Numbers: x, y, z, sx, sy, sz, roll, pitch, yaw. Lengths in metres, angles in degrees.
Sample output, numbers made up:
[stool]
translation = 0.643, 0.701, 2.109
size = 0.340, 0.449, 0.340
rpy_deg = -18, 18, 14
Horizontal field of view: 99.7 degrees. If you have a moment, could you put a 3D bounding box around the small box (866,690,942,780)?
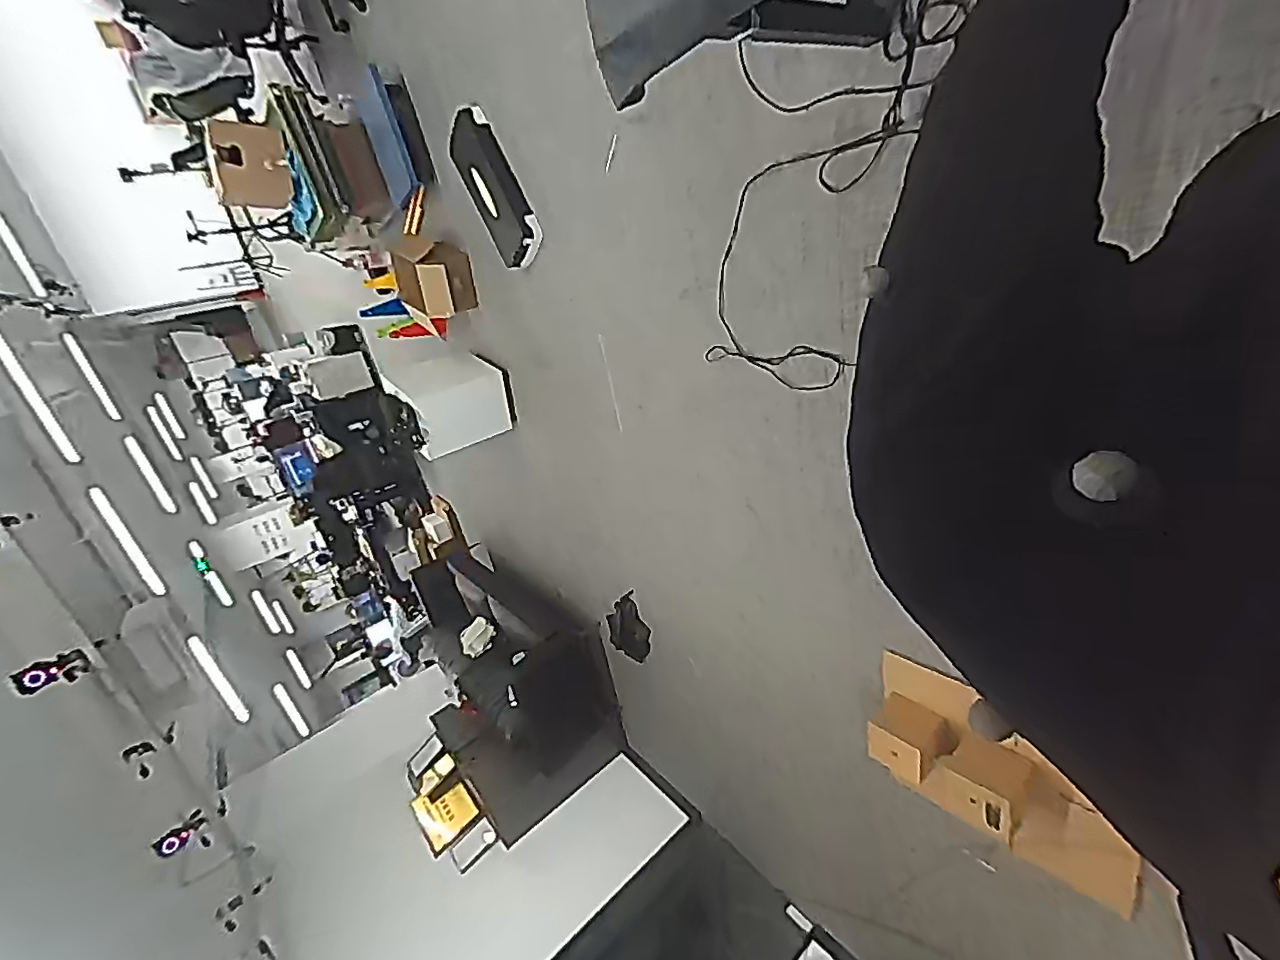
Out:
[small box]
translation = 0.877, 0.833, 1.787
size = 0.179, 0.176, 0.168
rpy_deg = 18, 127, 50
